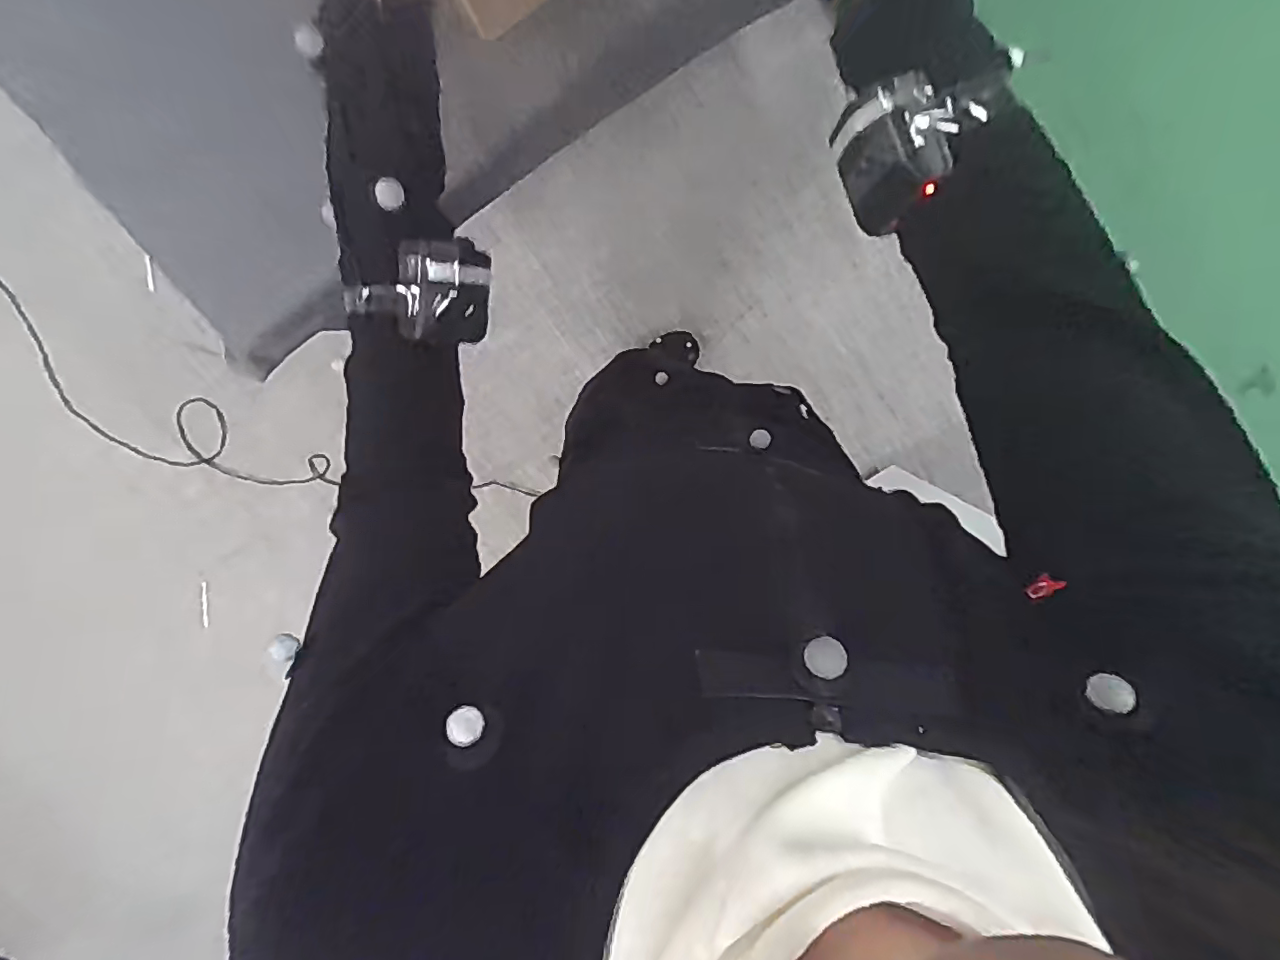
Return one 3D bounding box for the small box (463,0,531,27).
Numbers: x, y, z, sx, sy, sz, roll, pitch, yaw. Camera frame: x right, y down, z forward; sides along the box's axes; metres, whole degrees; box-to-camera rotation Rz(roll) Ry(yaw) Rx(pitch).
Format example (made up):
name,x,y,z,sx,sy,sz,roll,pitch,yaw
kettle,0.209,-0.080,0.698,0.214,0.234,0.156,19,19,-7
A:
name,x,y,z,sx,sy,sz,roll,pitch,yaw
small box,-0.130,-0.546,0.453,0.179,0.176,0.168,-31,103,9
